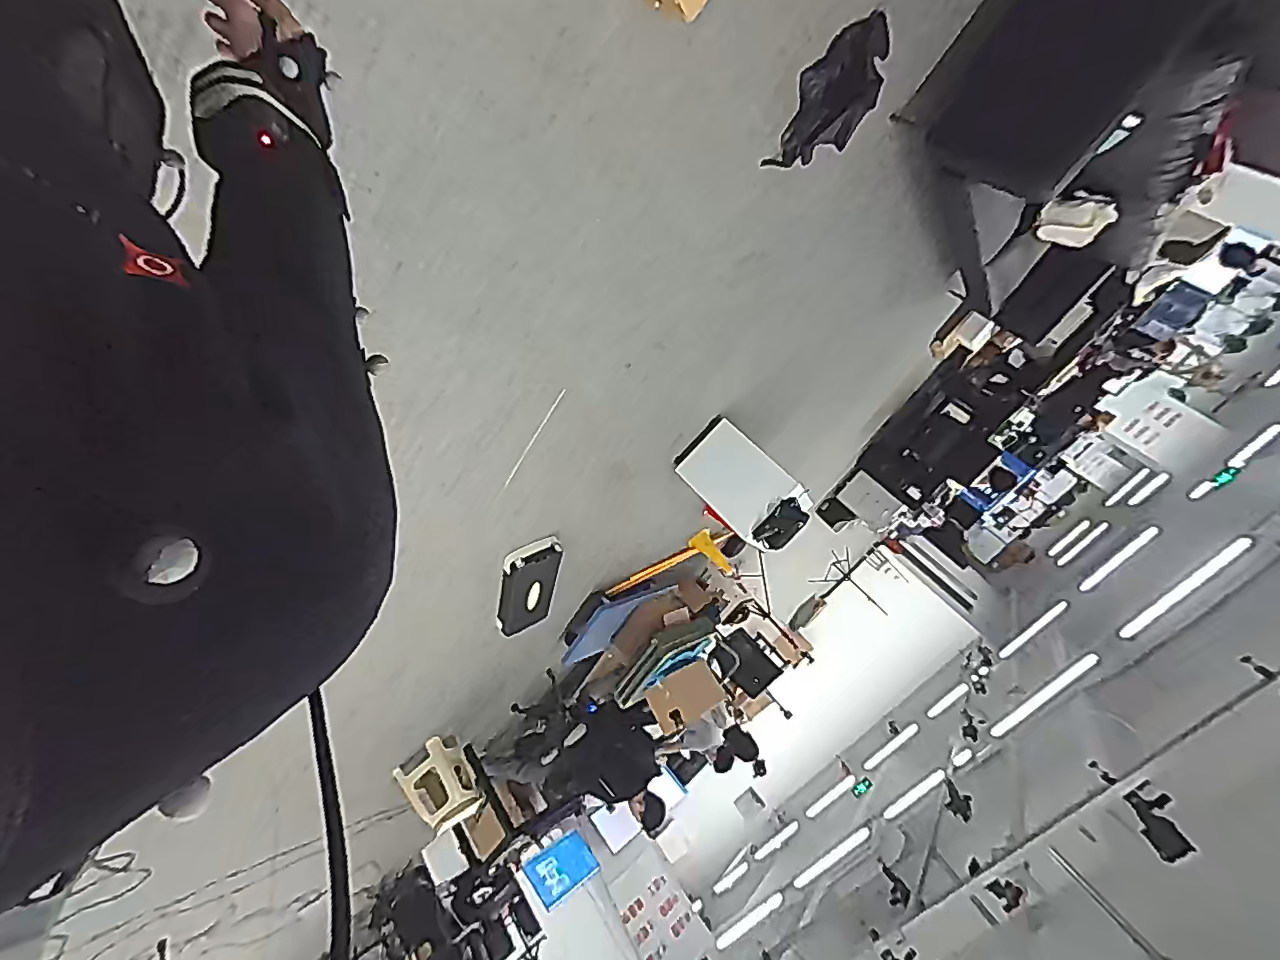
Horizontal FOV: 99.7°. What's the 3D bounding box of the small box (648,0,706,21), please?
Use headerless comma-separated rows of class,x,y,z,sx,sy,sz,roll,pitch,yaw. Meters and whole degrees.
small box,0.079,-1.165,1.172,0.179,0.176,0.168,-50,154,14
